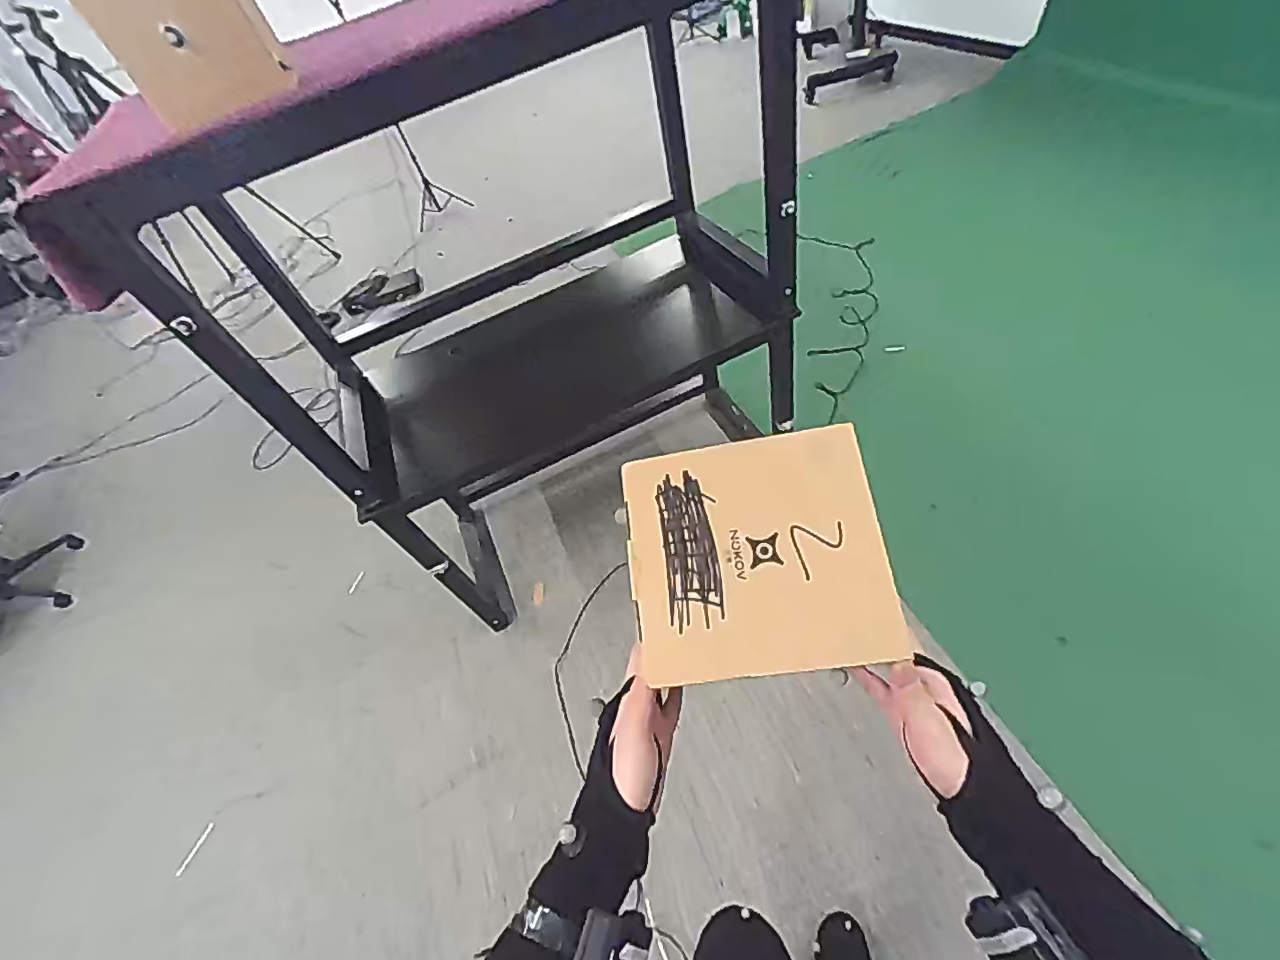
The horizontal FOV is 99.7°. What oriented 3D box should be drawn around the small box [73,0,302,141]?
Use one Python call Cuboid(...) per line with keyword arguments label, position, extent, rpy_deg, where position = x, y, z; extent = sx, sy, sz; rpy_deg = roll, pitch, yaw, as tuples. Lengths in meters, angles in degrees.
Cuboid(label="small box", position=(-0.610, -0.613, 0.758), extent=(0.179, 0.176, 0.168), rpy_deg=(-25, 49, -4))
